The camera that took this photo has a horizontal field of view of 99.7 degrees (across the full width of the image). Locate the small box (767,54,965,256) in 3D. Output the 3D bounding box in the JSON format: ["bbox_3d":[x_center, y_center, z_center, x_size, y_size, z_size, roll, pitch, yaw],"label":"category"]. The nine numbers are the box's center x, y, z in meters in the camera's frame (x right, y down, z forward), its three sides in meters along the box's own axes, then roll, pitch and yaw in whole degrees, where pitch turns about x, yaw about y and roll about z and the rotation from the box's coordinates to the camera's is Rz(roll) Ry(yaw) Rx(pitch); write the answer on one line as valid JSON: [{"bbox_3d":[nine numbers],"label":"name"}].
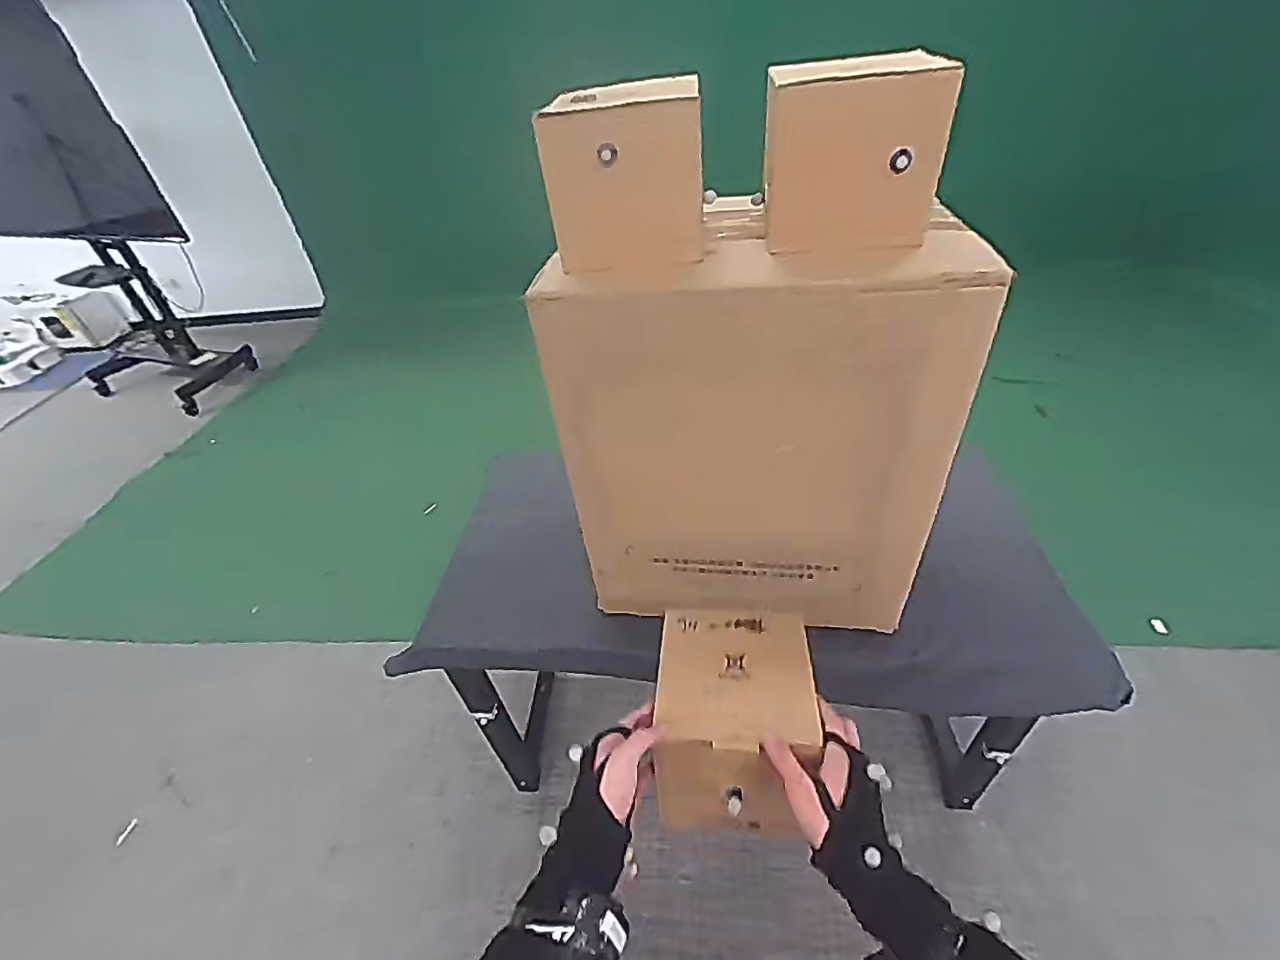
[{"bbox_3d":[0.246,-0.380,0.640,0.179,0.176,0.168,0,41,10],"label":"small box"}]

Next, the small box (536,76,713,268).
[{"bbox_3d":[-0.005,-0.377,0.672,0.179,0.176,0.168,1,45,12],"label":"small box"}]
